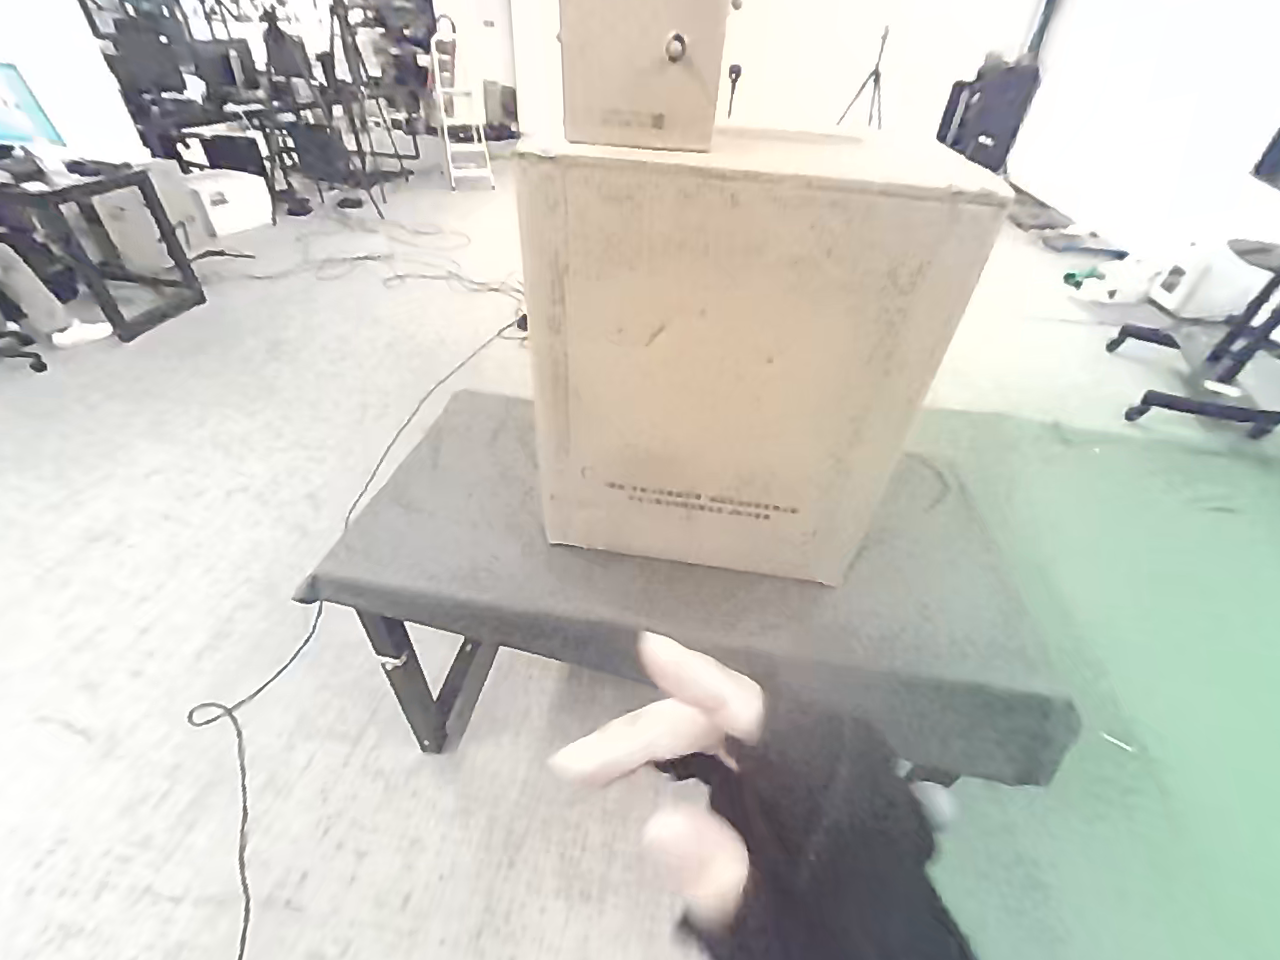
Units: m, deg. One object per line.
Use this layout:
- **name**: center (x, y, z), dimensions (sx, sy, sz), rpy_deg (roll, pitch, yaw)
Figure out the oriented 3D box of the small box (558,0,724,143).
- **small box**: center (0.006, -0.491, 0.602), dimensions (0.168, 0.176, 0.179), rpy_deg (4, 43, 1)
